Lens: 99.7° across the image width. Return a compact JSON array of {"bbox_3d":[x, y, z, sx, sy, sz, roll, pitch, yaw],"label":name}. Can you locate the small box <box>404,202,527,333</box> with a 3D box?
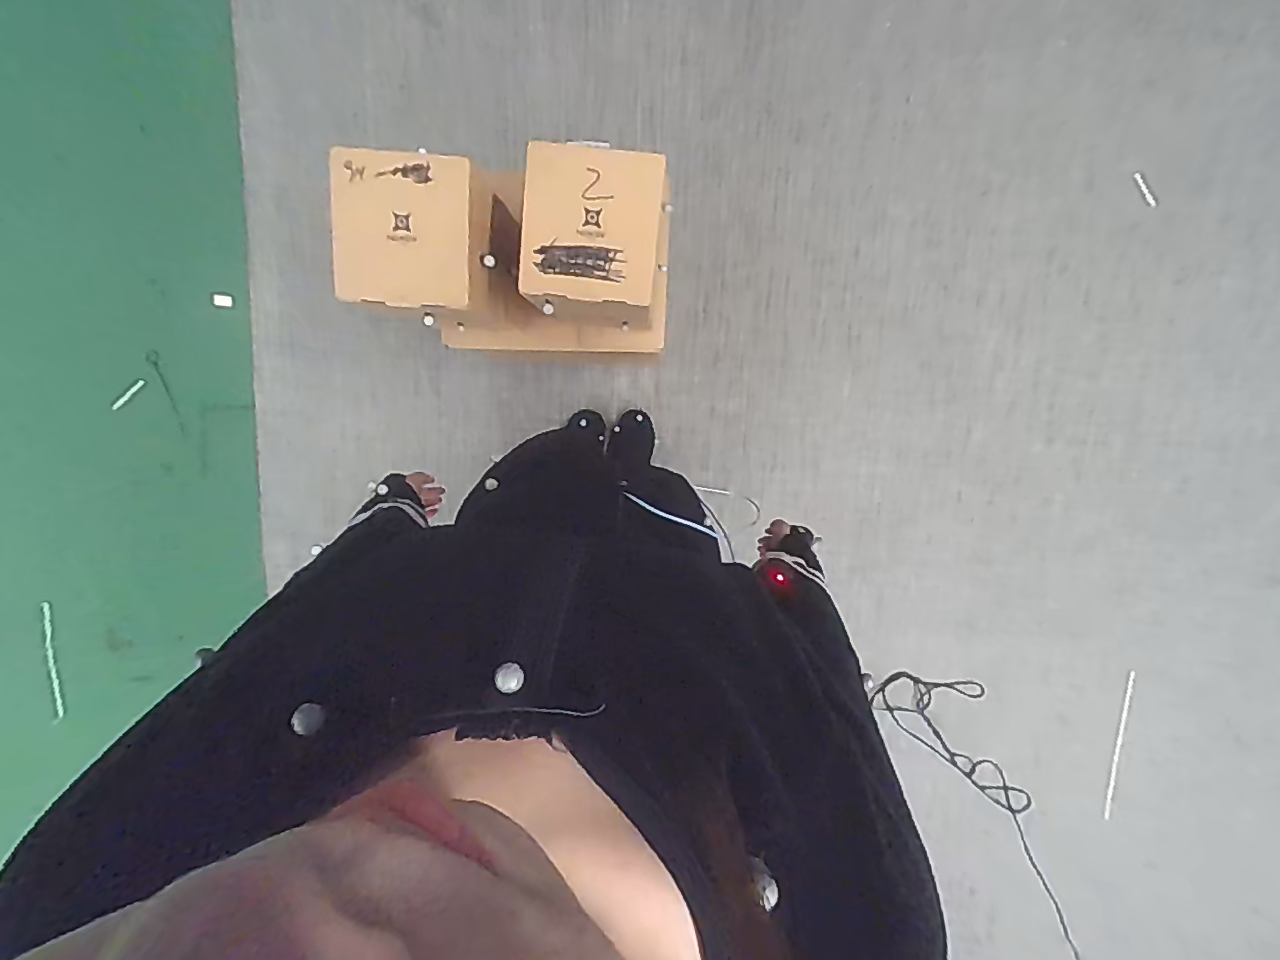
[{"bbox_3d":[-0.285,-0.345,0.894,0.168,0.176,0.179,3,101,-1],"label":"small box"}]

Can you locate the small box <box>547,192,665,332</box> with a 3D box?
[{"bbox_3d":[-0.049,-0.346,0.891,0.168,0.176,0.179,7,99,1],"label":"small box"}]

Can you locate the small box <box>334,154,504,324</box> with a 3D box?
[{"bbox_3d":[-0.286,-0.311,0.733,0.168,0.176,0.179,4,101,-1],"label":"small box"}]
